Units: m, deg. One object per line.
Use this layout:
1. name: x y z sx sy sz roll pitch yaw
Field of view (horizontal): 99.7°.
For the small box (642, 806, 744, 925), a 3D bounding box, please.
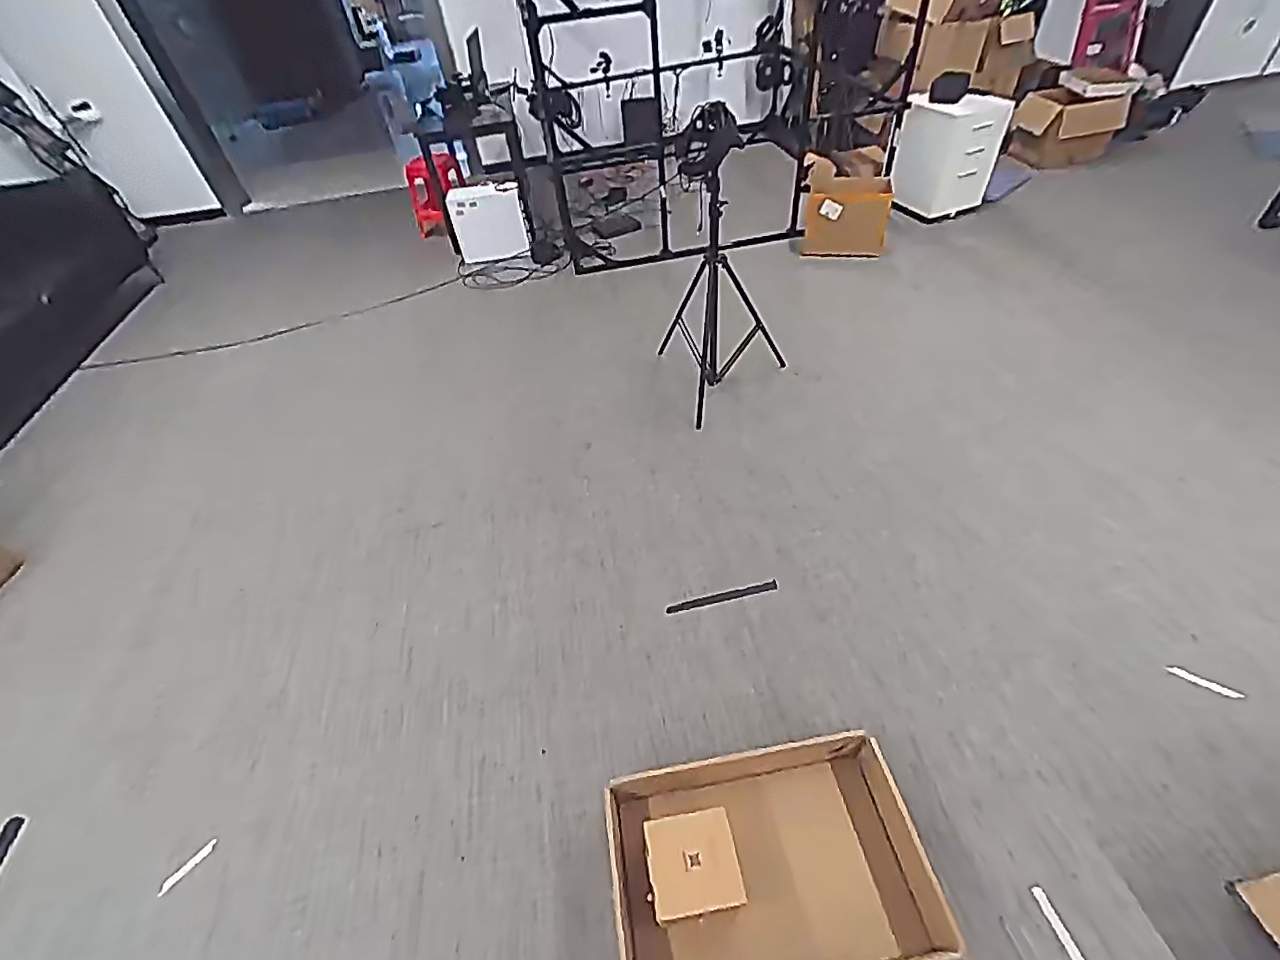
1. small box: 0.106 0.806 1.127 0.179 0.176 0.168 -9 48 -4
